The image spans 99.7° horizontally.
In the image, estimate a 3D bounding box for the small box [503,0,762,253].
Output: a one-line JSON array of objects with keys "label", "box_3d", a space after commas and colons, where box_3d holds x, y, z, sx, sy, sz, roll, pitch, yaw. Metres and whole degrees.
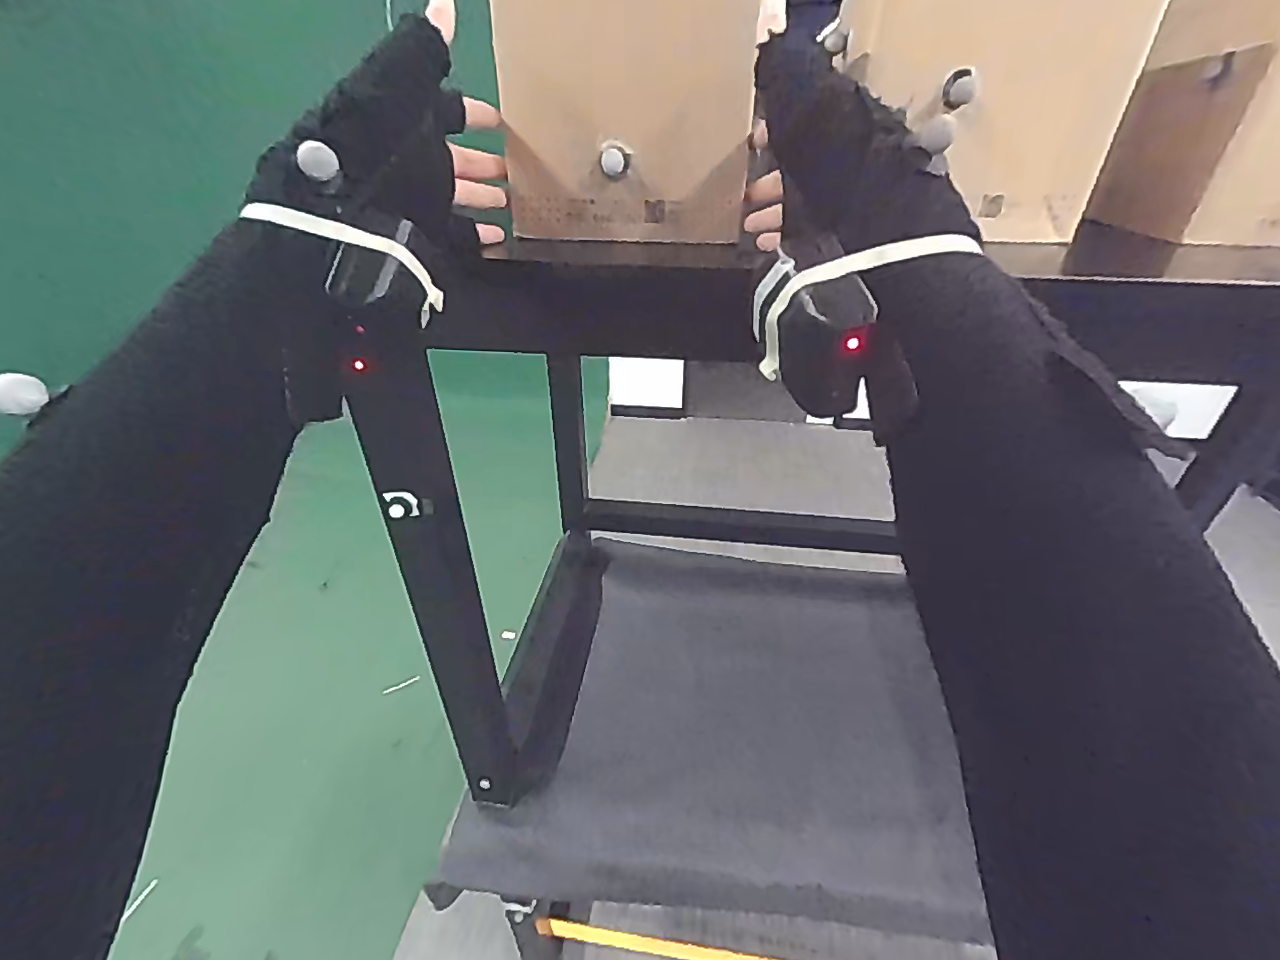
[{"label": "small box", "box_3d": [-0.001, -0.287, 0.427, 0.168, 0.176, 0.179, 4, 33, 5]}]

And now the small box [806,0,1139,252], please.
[{"label": "small box", "box_3d": [0.238, -0.287, 0.435, 0.168, 0.176, 0.179, 5, 33, 6]}]
